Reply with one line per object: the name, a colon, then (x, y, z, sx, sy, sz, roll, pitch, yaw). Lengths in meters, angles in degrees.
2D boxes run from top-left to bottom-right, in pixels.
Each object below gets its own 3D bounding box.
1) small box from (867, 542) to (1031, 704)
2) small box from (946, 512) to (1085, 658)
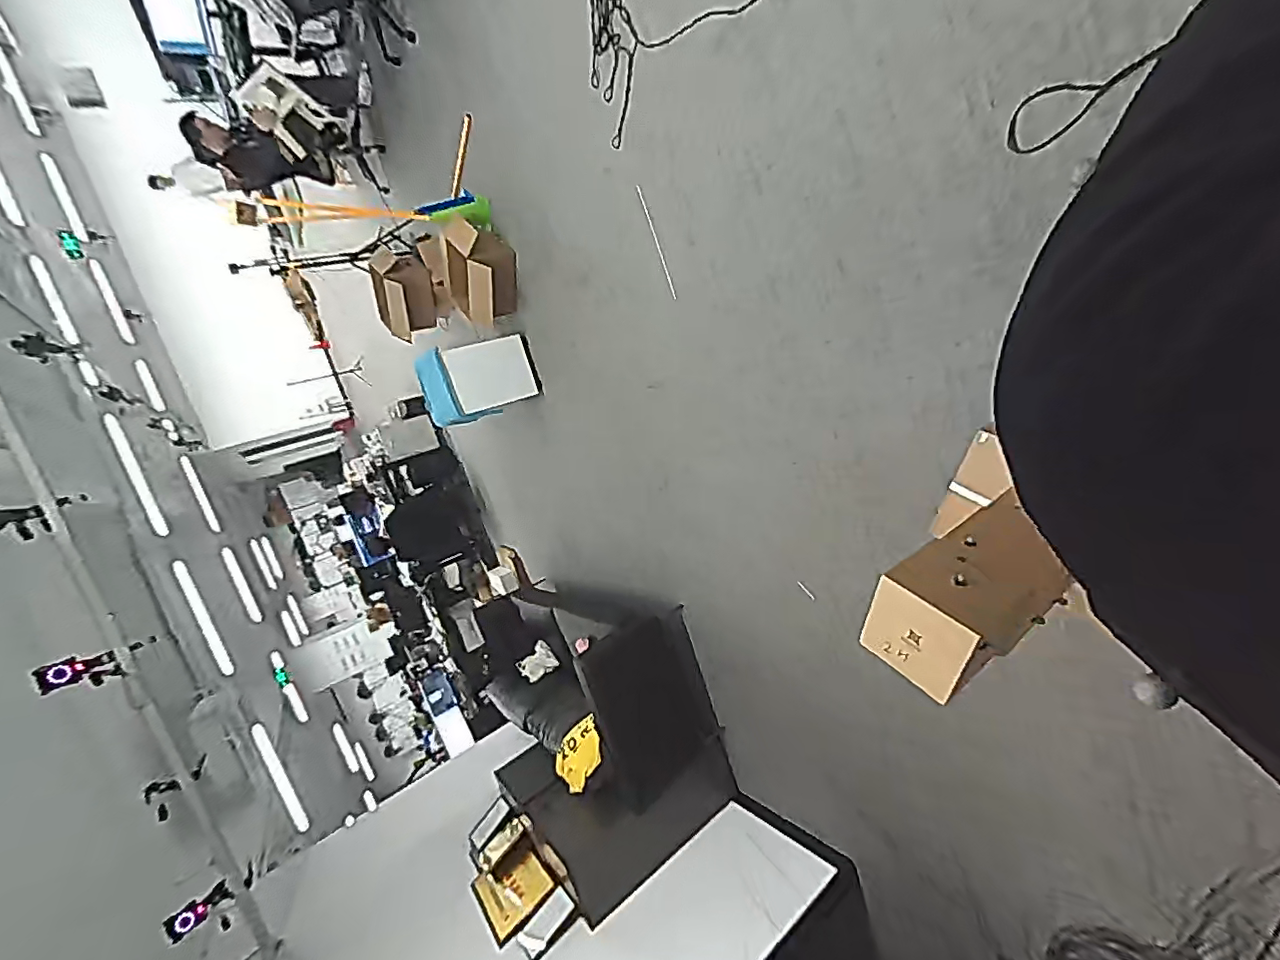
small box: (0.529, 0.235, 0.930, 0.168, 0.176, 0.179, 38, 140, 43)
small box: (0.669, 0.183, 1.001, 0.179, 0.176, 0.168, 38, 140, 43)
